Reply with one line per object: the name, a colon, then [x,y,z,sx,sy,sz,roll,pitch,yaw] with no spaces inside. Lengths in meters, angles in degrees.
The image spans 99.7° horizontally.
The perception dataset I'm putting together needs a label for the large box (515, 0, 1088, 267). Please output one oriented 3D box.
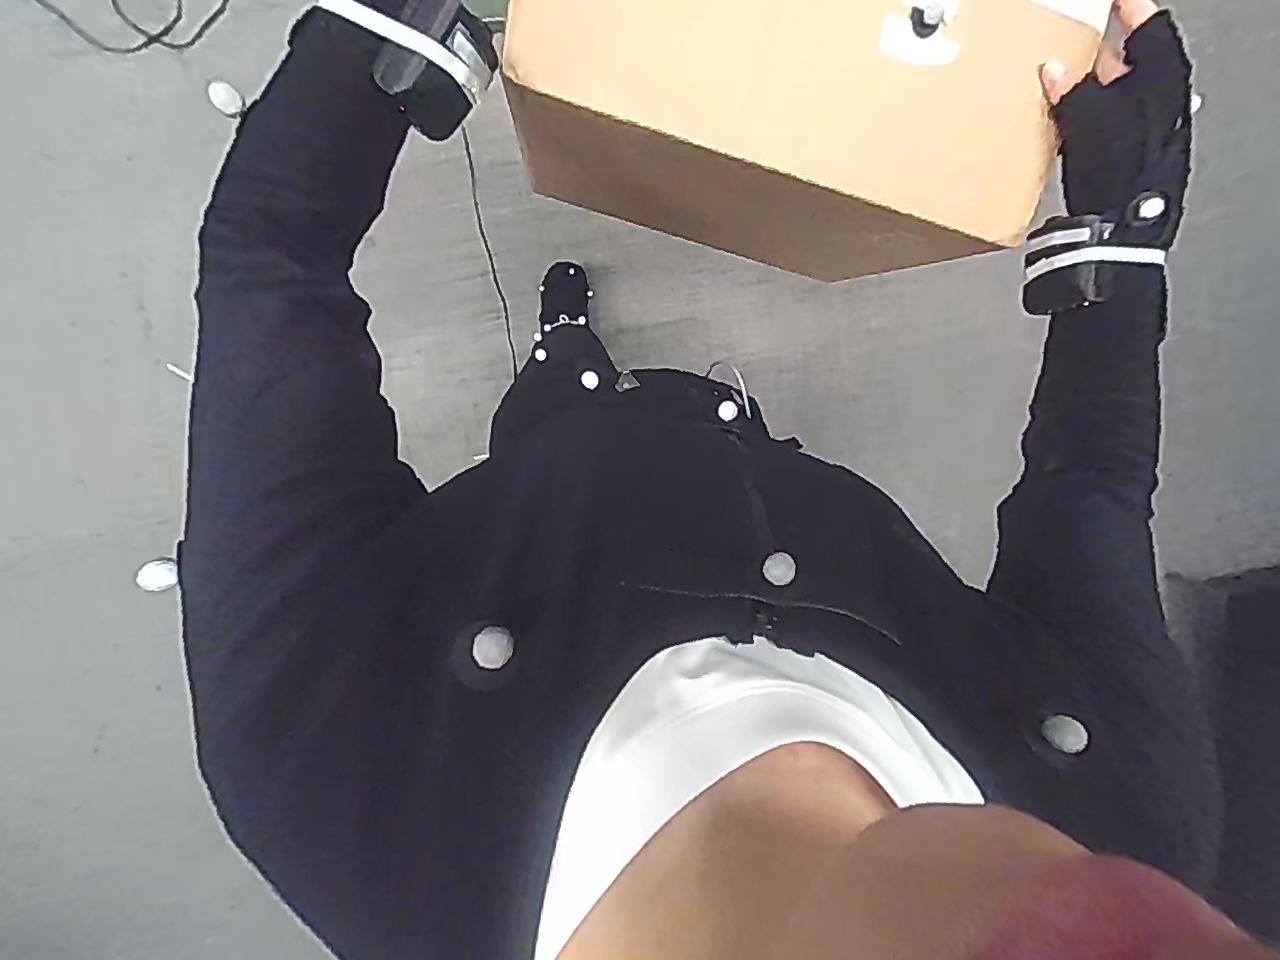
large box: [0.114,-0.419,0.505,0.408,0.320,0.320,10,104,-11]
